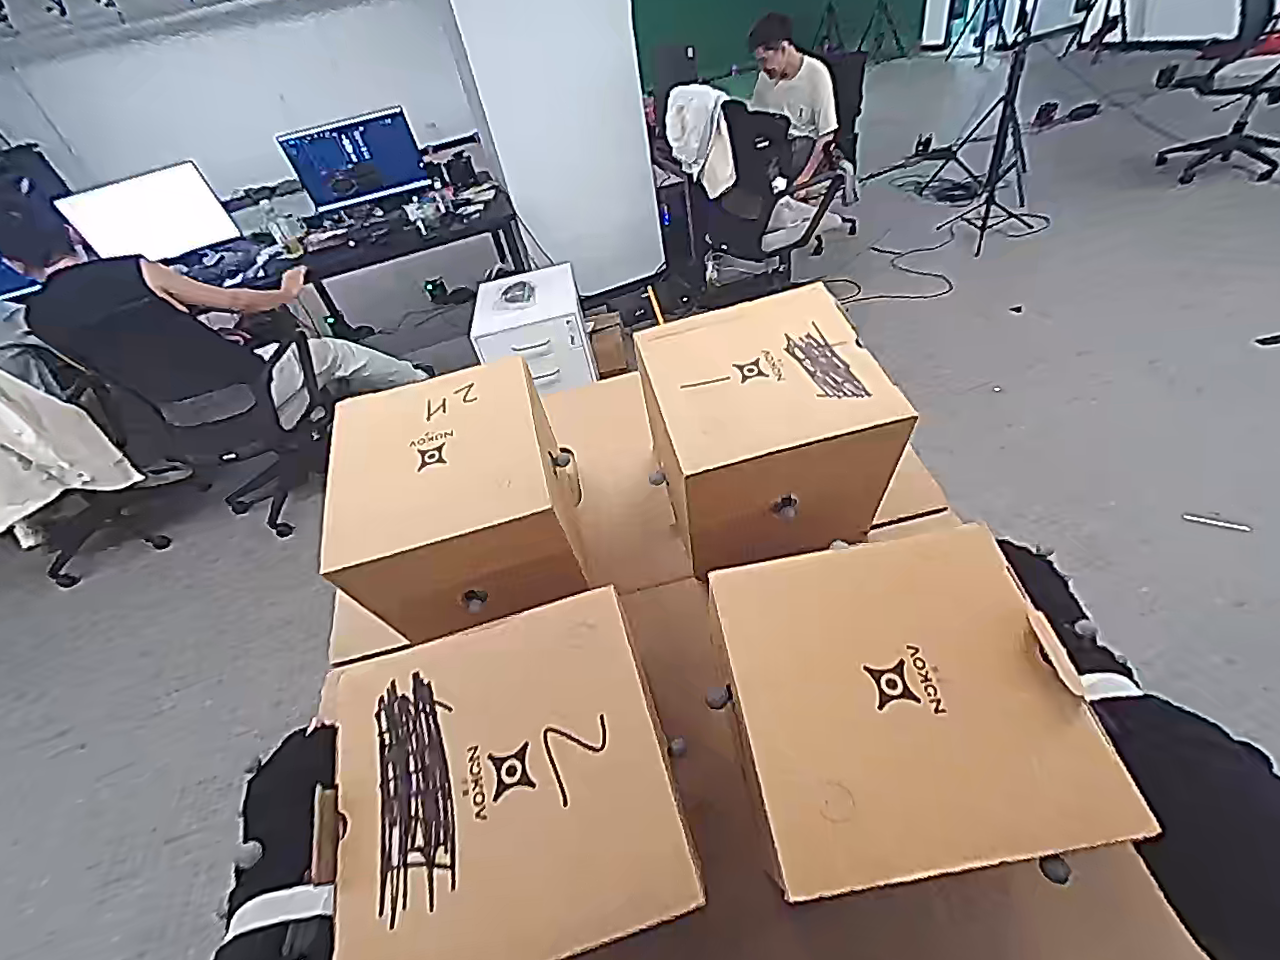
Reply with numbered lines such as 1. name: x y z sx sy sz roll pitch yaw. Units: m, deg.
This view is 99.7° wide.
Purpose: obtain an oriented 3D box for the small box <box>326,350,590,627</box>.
1. small box: -0.151 0.018 0.494 0.168 0.176 0.179 -15 54 -3
